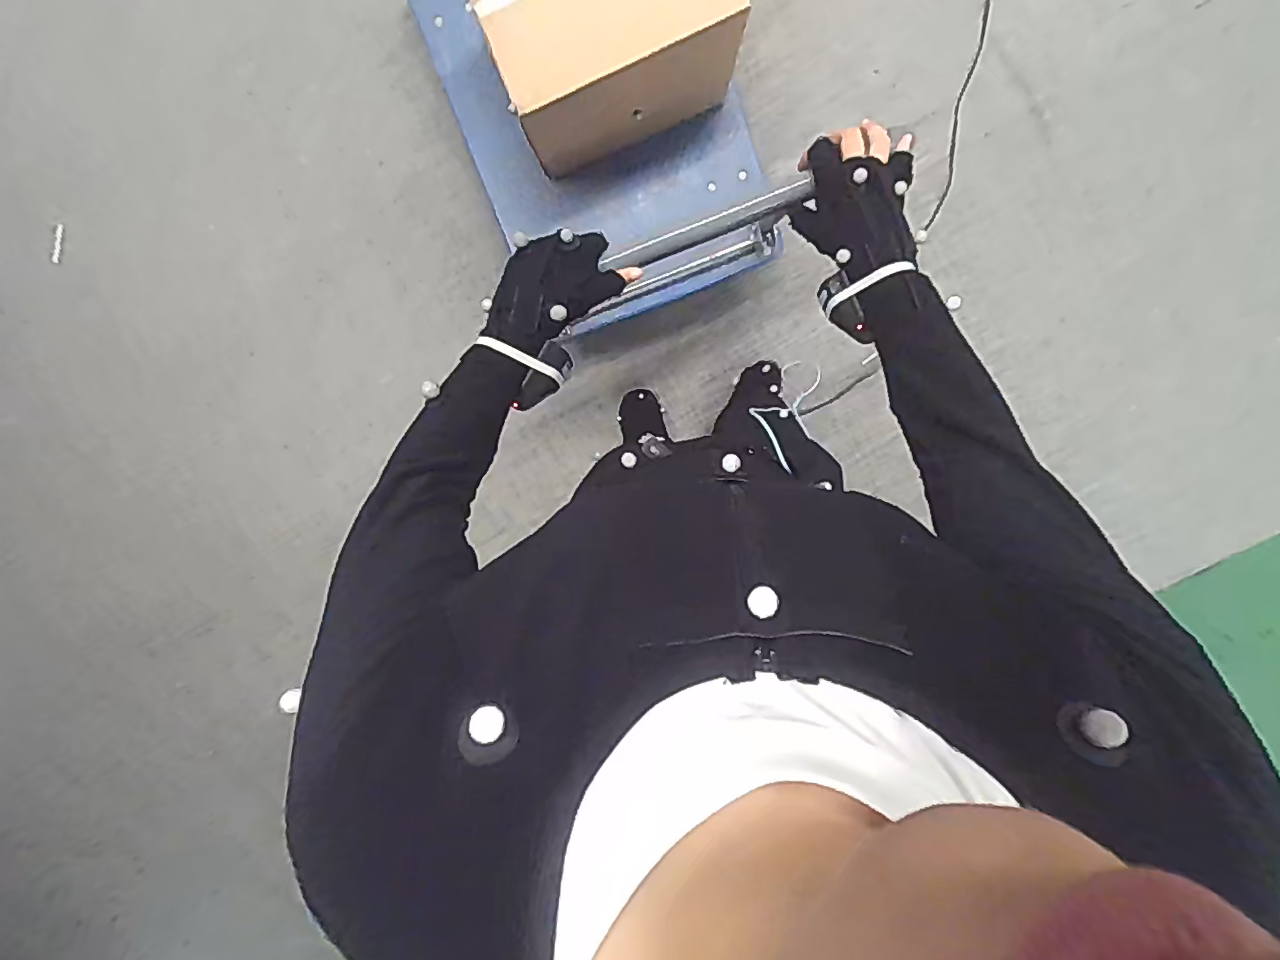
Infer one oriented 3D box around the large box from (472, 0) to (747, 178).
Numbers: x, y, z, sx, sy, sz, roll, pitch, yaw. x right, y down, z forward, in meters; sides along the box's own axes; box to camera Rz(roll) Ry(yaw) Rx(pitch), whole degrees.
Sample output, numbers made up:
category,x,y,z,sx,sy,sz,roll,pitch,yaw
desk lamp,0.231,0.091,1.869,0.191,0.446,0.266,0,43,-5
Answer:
category,x,y,z,sx,sy,sz,roll,pitch,yaw
large box,-0.063,-0.836,0.992,0.408,0.320,0.320,-22,99,6
